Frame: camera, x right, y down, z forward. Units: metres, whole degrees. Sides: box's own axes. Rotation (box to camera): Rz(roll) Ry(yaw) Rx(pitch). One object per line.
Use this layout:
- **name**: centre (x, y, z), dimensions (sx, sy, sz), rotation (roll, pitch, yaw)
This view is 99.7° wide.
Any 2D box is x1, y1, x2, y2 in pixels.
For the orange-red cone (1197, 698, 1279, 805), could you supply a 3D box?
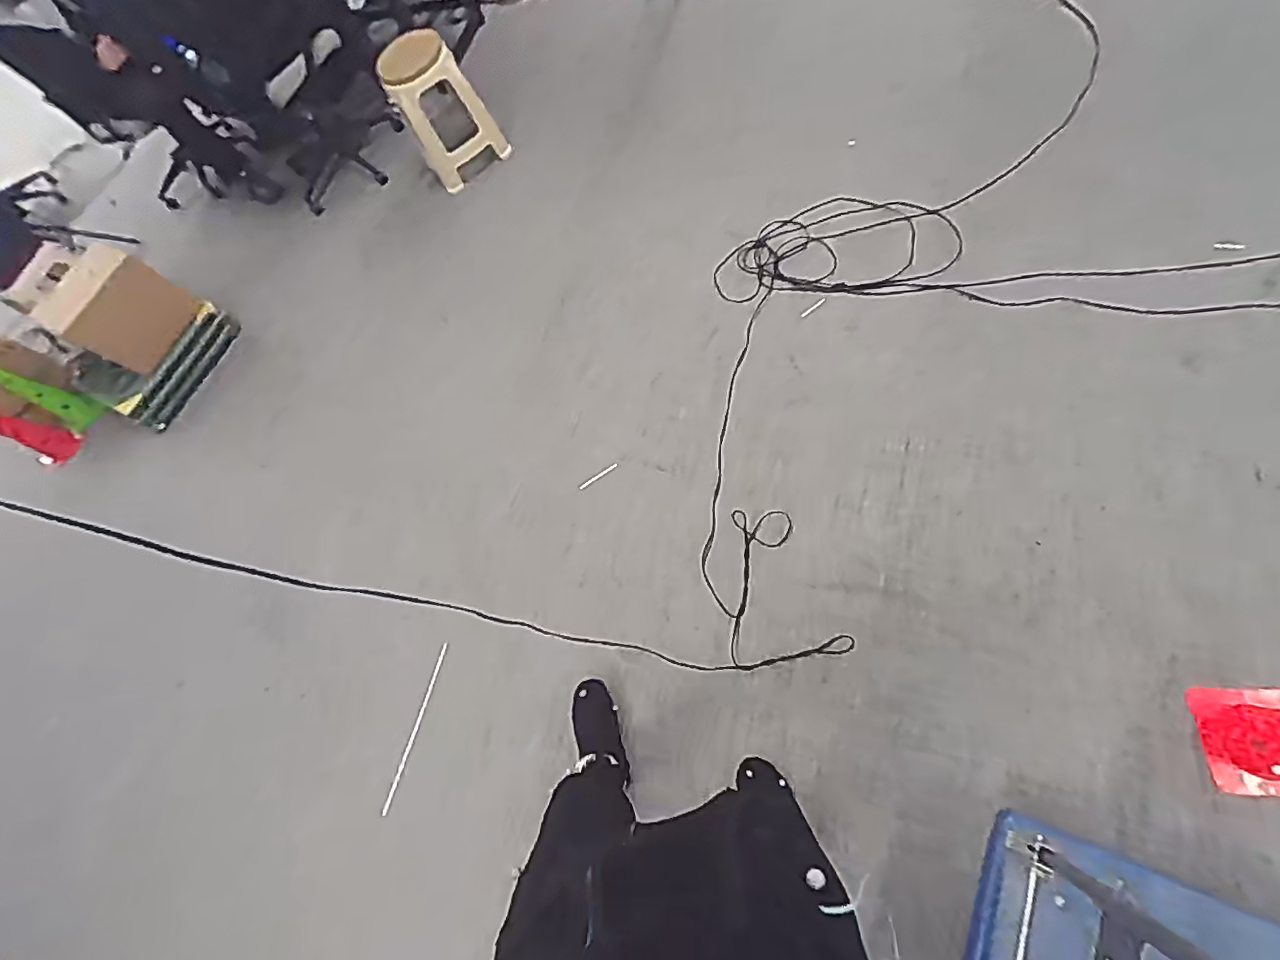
- **orange-red cone**: centre (1.221, 0.480, 0.937), dimensions (0.198, 0.360, 0.199), rotation (-3, 66, 14)
